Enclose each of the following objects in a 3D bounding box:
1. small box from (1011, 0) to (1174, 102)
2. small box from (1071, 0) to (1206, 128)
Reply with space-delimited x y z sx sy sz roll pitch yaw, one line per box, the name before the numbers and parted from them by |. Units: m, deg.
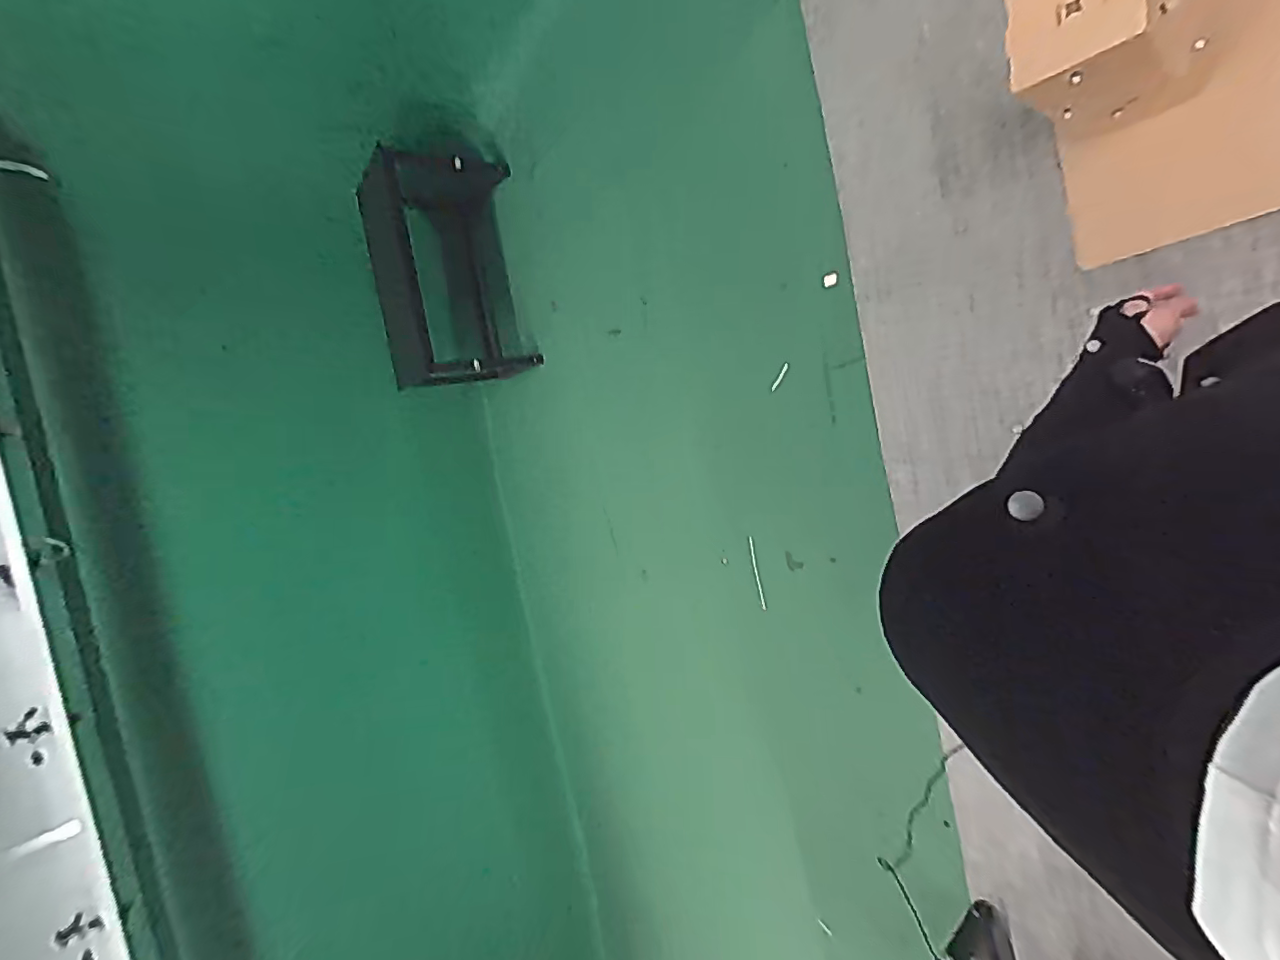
small box | 0.745 -0.764 0.893 0.179 0.176 0.168 2 104 53
small box | 0.997 -0.845 1.086 0.179 0.176 0.168 -1 101 53
